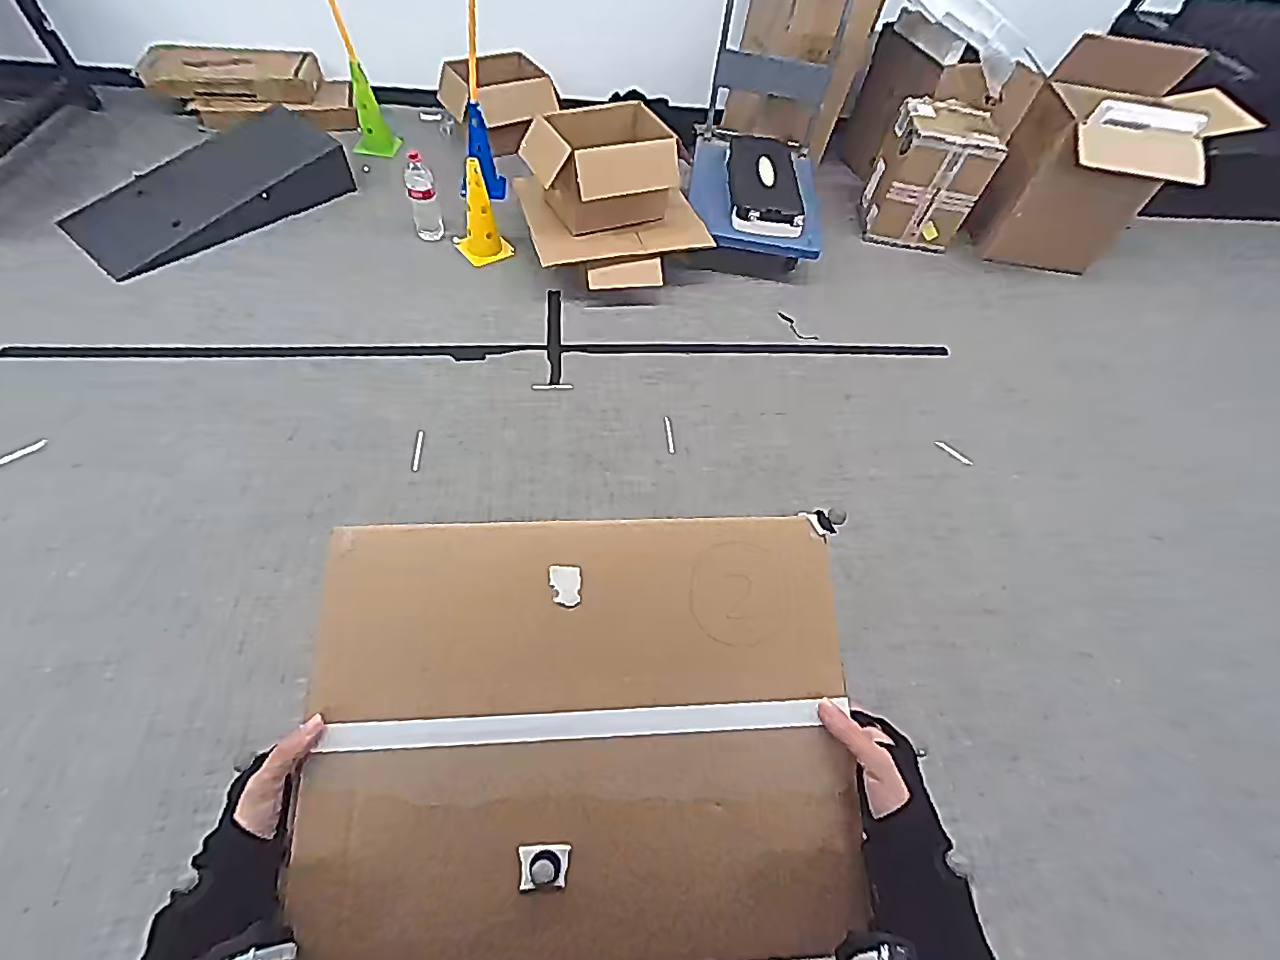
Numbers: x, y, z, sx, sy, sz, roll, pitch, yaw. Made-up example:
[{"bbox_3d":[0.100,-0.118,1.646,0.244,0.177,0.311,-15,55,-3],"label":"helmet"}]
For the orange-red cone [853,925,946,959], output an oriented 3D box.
[{"bbox_3d":[0.554,0.919,0.916,0.199,0.360,0.198,-8,58,-14],"label":"orange-red cone"}]
